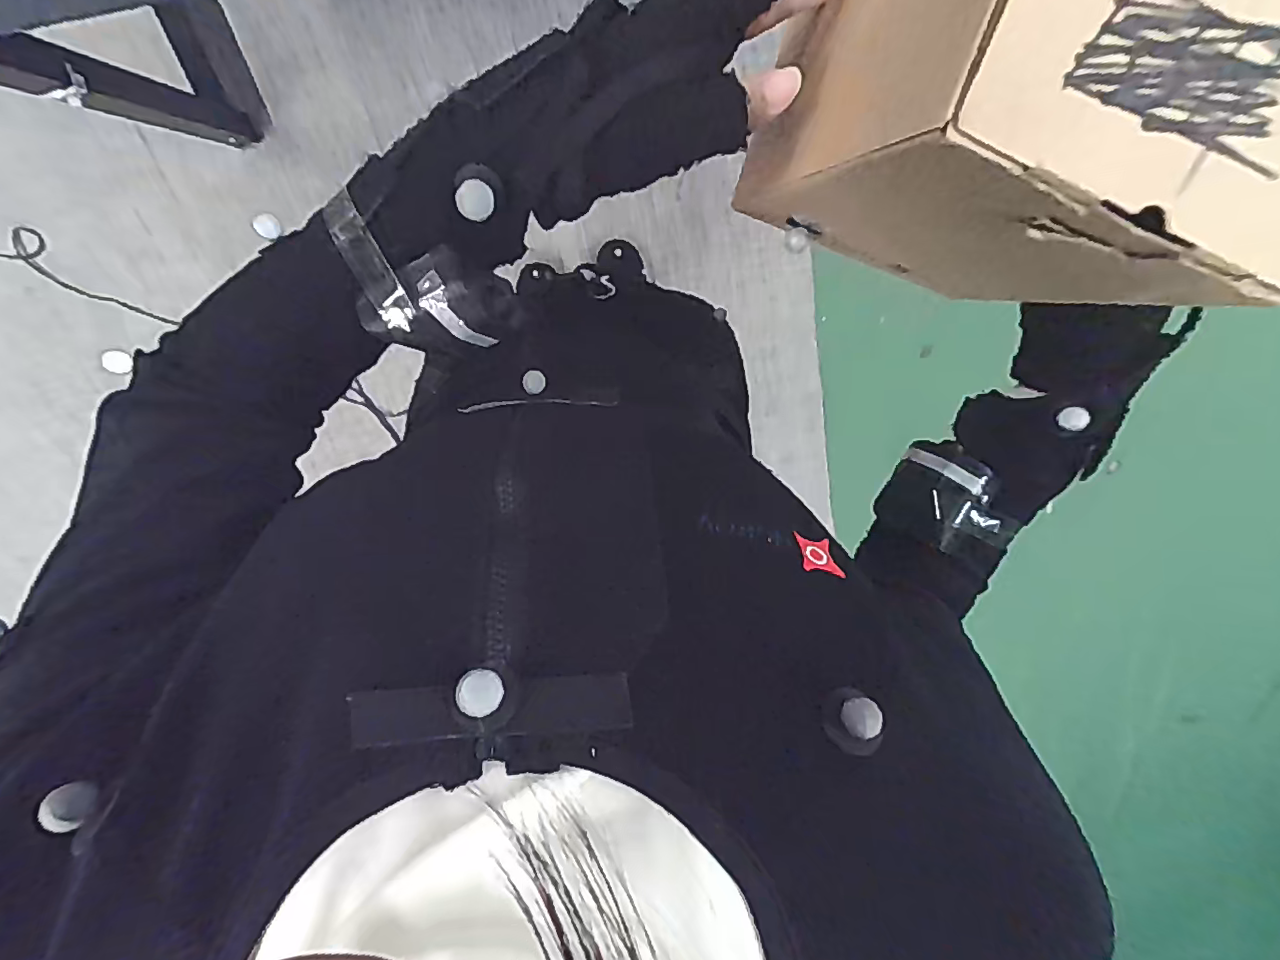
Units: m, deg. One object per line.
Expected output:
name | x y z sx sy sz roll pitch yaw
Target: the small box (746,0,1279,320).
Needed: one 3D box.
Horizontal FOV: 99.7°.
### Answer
small box | 0.165 -0.183 0.231 0.168 0.176 0.179 14 105 -17
